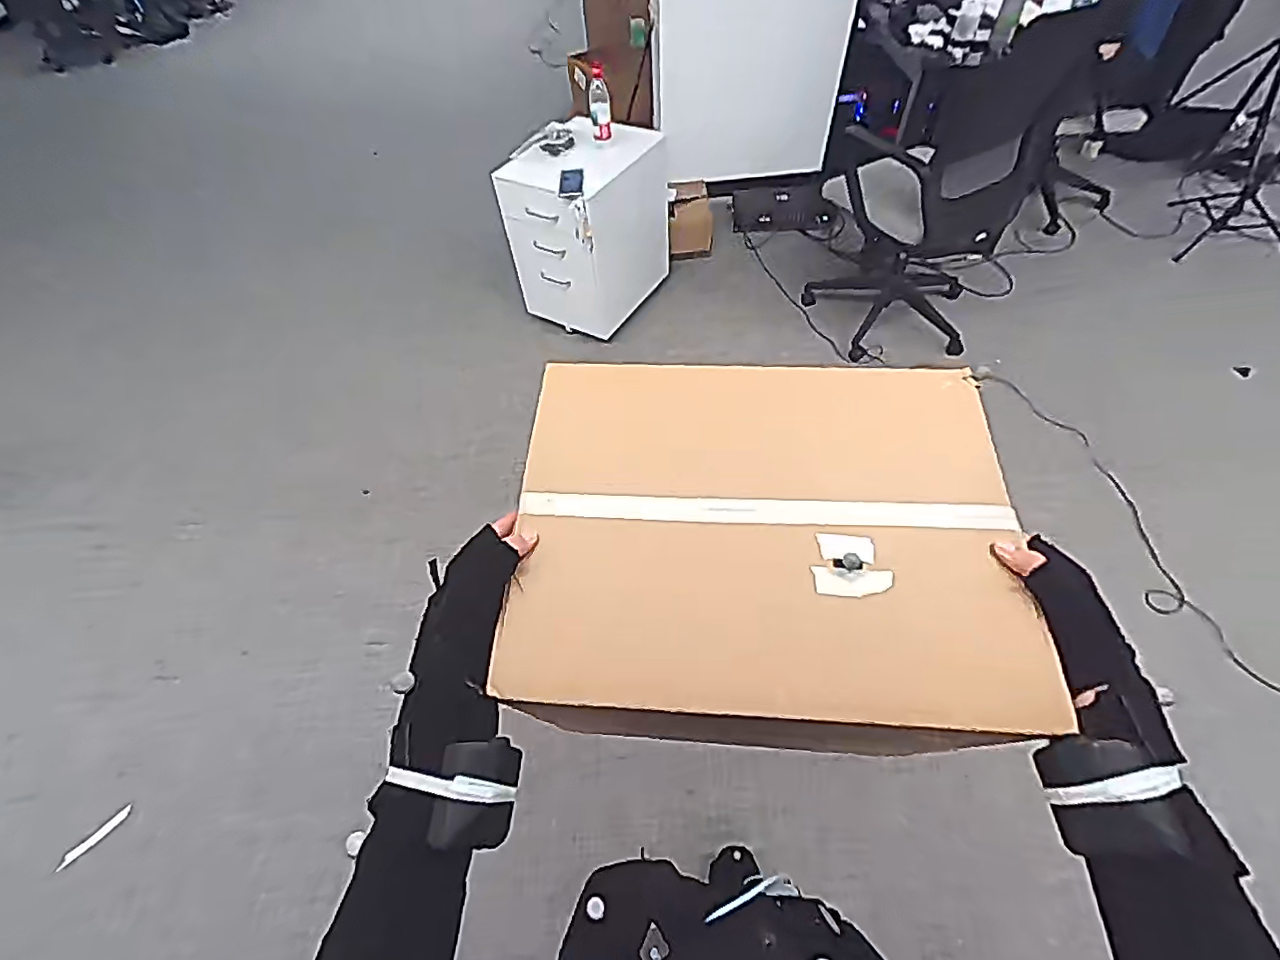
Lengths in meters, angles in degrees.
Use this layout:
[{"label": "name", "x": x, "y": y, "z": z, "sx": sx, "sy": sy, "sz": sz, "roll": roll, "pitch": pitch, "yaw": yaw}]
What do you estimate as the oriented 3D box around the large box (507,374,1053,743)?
[{"label": "large box", "x": 0.109, "y": 0.102, "z": 0.593, "sx": 0.408, "sy": 0.320, "sz": 0.320, "roll": 2, "pitch": 62, "yaw": 4}]
